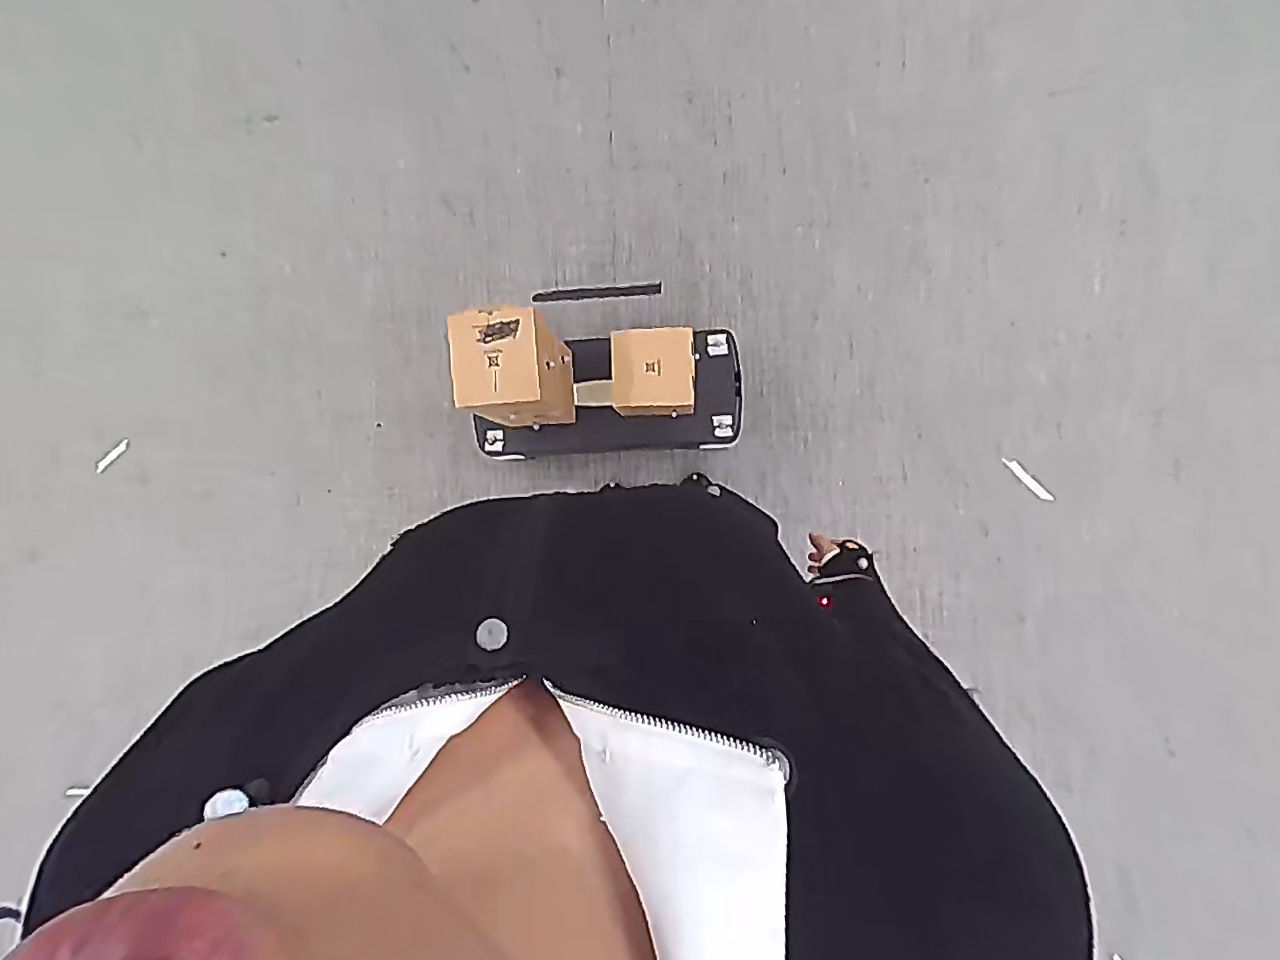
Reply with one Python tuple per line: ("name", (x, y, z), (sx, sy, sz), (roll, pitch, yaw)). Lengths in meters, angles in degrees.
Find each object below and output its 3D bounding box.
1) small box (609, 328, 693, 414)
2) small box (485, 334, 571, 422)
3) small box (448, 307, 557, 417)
("small box", (0.029, -0.238, 1.221), (0.179, 0.176, 0.168), (-1, 90, 6))
("small box", (-0.251, -0.223, 1.238), (0.168, 0.176, 0.179), (-3, 90, 4))
("small box", (-0.265, -0.227, 1.074), (0.168, 0.176, 0.179), (-4, 90, 4))
